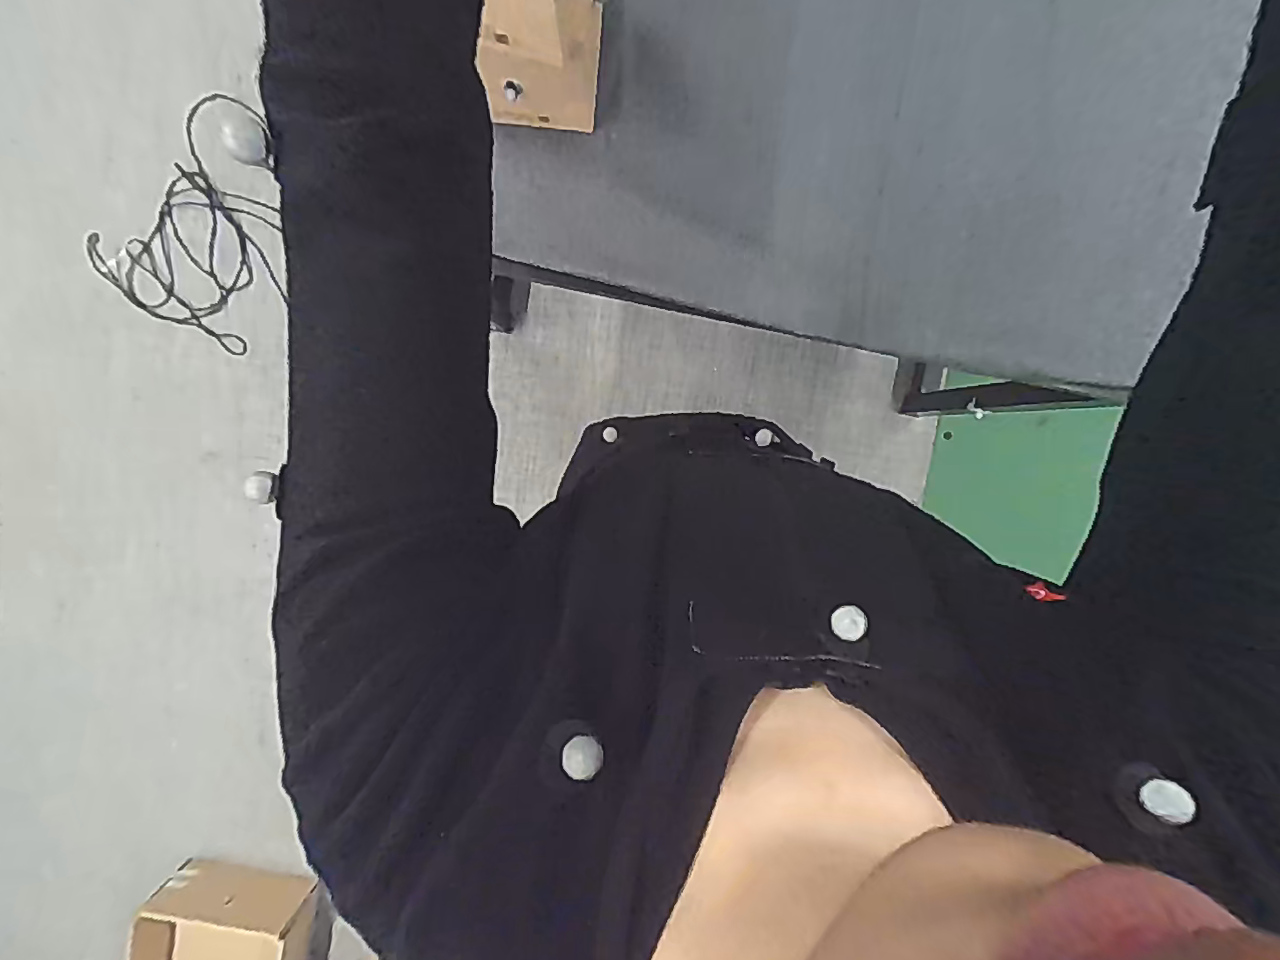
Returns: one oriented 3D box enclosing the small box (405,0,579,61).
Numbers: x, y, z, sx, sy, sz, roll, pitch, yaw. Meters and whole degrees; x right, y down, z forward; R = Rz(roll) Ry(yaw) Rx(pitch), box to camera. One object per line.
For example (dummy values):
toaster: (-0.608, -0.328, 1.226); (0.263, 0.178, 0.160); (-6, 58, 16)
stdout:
small box: (-0.130, -0.505, 0.443); (0.168, 0.176, 0.179); (13, 96, -3)

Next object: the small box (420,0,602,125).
small box: (-0.132, -0.535, 0.605); (0.168, 0.176, 0.179); (5, 95, -3)
